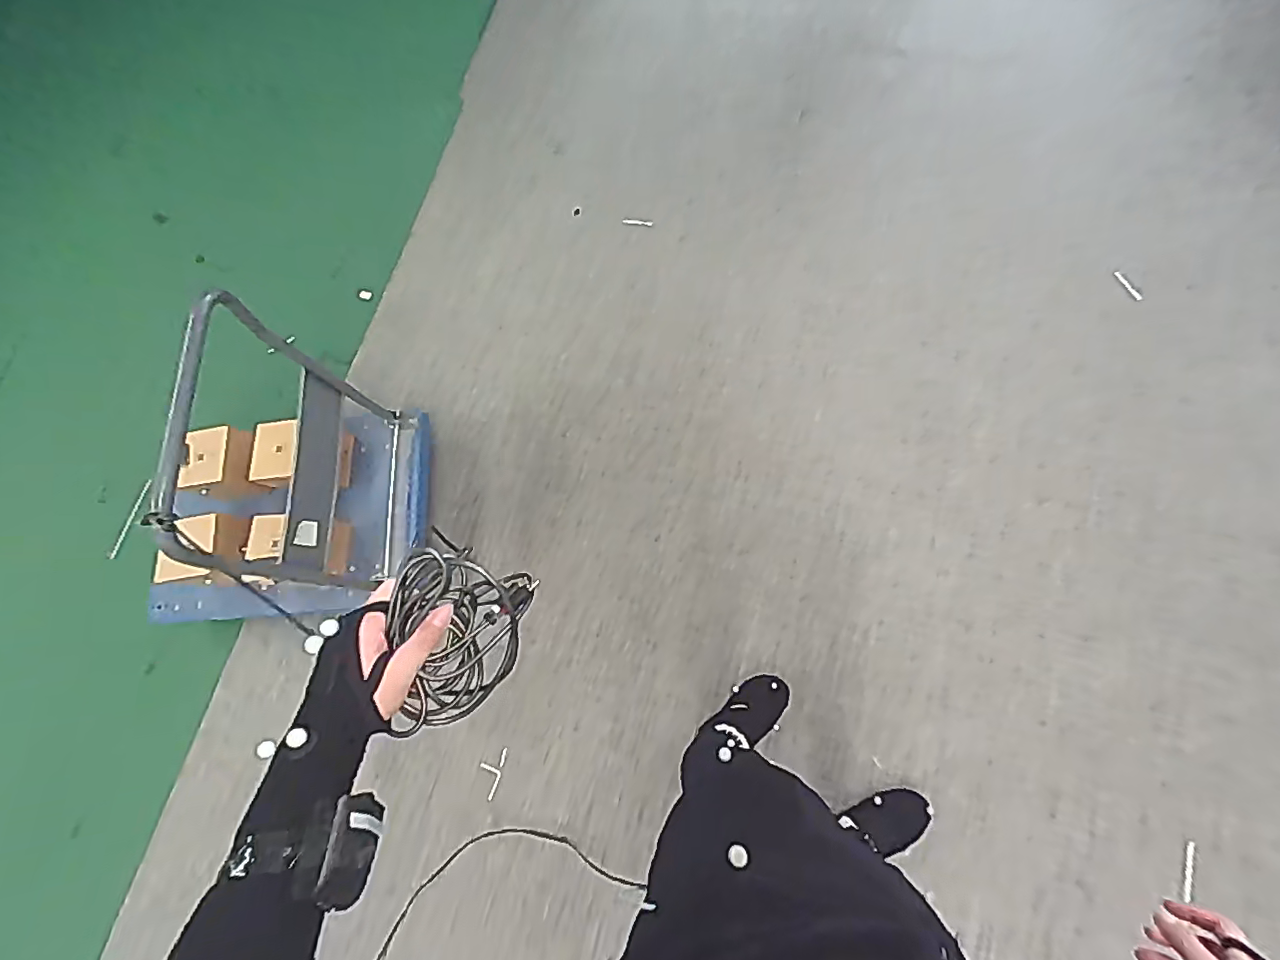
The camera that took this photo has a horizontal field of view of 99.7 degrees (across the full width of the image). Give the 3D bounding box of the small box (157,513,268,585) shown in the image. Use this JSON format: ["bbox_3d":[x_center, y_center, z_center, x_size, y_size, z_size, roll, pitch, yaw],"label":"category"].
[{"bbox_3d":[-1.190,0.197,1.518,0.179,0.176,0.168,-10,72,9],"label":"small box"}]

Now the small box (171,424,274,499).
[{"bbox_3d":[-1.215,-0.048,1.592,0.179,0.176,0.168,-8,74,9],"label":"small box"}]

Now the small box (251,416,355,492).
[{"bbox_3d":[-0.955,-0.068,1.545,0.179,0.176,0.168,-5,74,10],"label":"small box"}]
